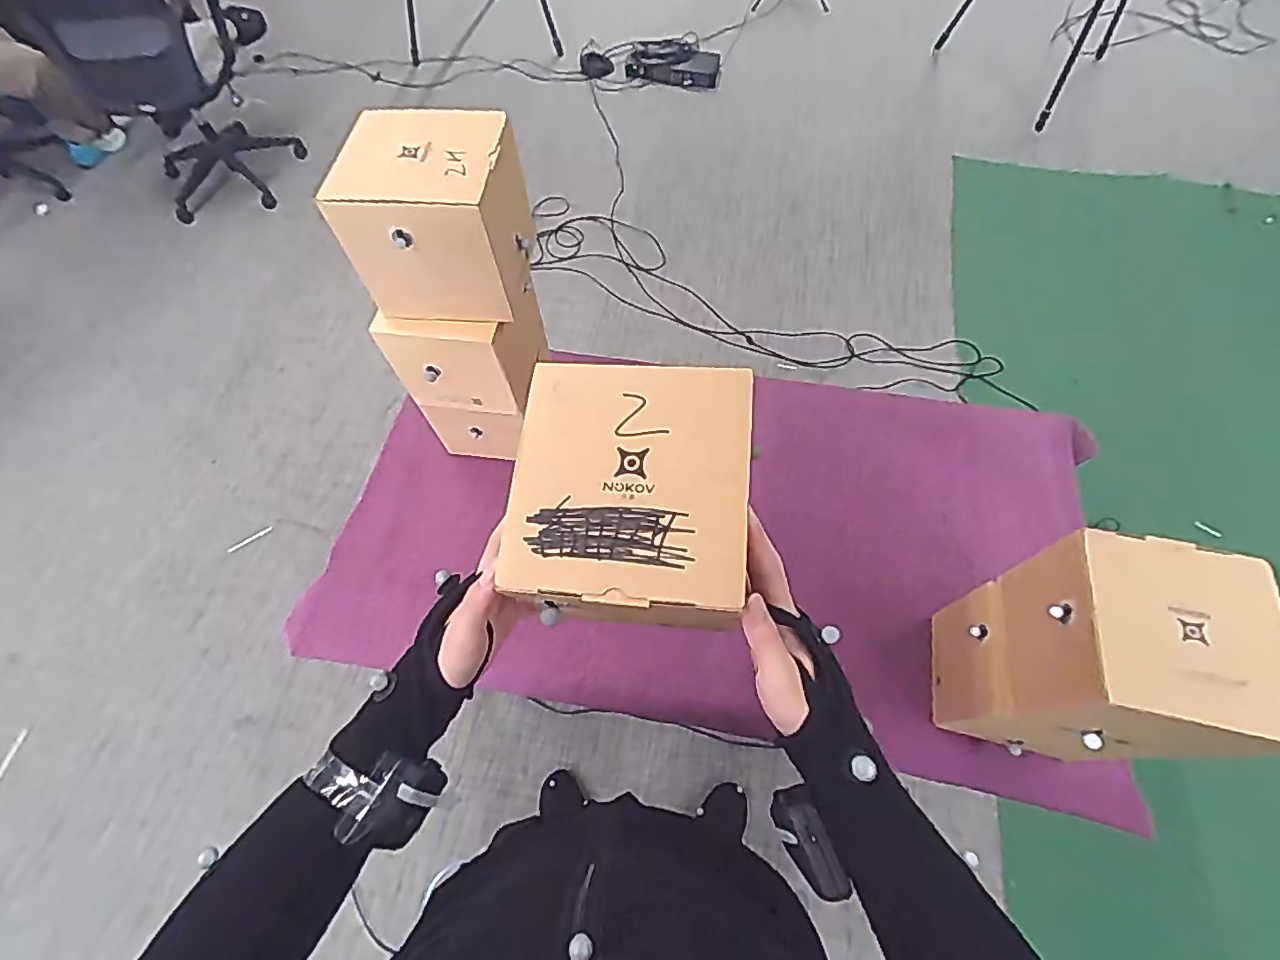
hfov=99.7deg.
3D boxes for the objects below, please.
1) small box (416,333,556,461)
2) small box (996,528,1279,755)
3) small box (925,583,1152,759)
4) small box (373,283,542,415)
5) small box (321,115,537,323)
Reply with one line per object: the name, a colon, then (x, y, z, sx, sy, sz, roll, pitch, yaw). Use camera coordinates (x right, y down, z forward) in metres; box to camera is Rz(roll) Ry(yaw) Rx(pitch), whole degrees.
small box: (-0.253, -0.146, 0.944, 0.179, 0.176, 0.168, 6, 63, 5)
small box: (0.508, 0.176, 0.575, 0.168, 0.176, 0.179, 11, 63, 9)
small box: (0.508, 0.257, 0.716, 0.179, 0.176, 0.168, 12, 62, 8)
small box: (-0.251, -0.216, 0.798, 0.168, 0.176, 0.179, 7, 62, 4)
small box: (-0.238, -0.313, 0.663, 0.179, 0.176, 0.168, 4, 63, 3)
